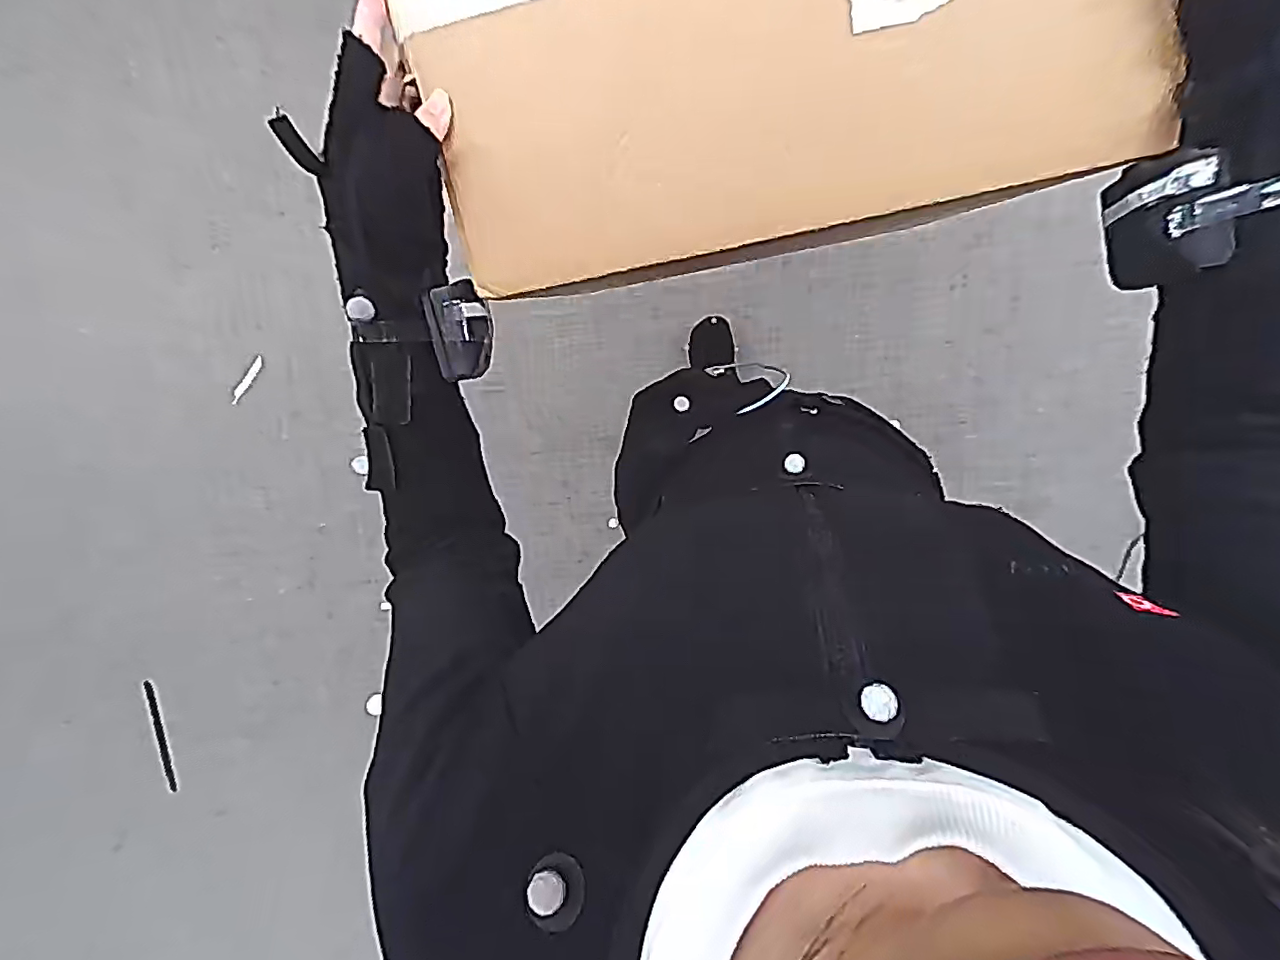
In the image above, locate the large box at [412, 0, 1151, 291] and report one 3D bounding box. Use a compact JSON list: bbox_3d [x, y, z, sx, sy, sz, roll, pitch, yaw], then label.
[{"bbox_3d":[0.071,-0.352,0.430,0.408,0.320,0.320,-10,109,8],"label":"large box"}]
